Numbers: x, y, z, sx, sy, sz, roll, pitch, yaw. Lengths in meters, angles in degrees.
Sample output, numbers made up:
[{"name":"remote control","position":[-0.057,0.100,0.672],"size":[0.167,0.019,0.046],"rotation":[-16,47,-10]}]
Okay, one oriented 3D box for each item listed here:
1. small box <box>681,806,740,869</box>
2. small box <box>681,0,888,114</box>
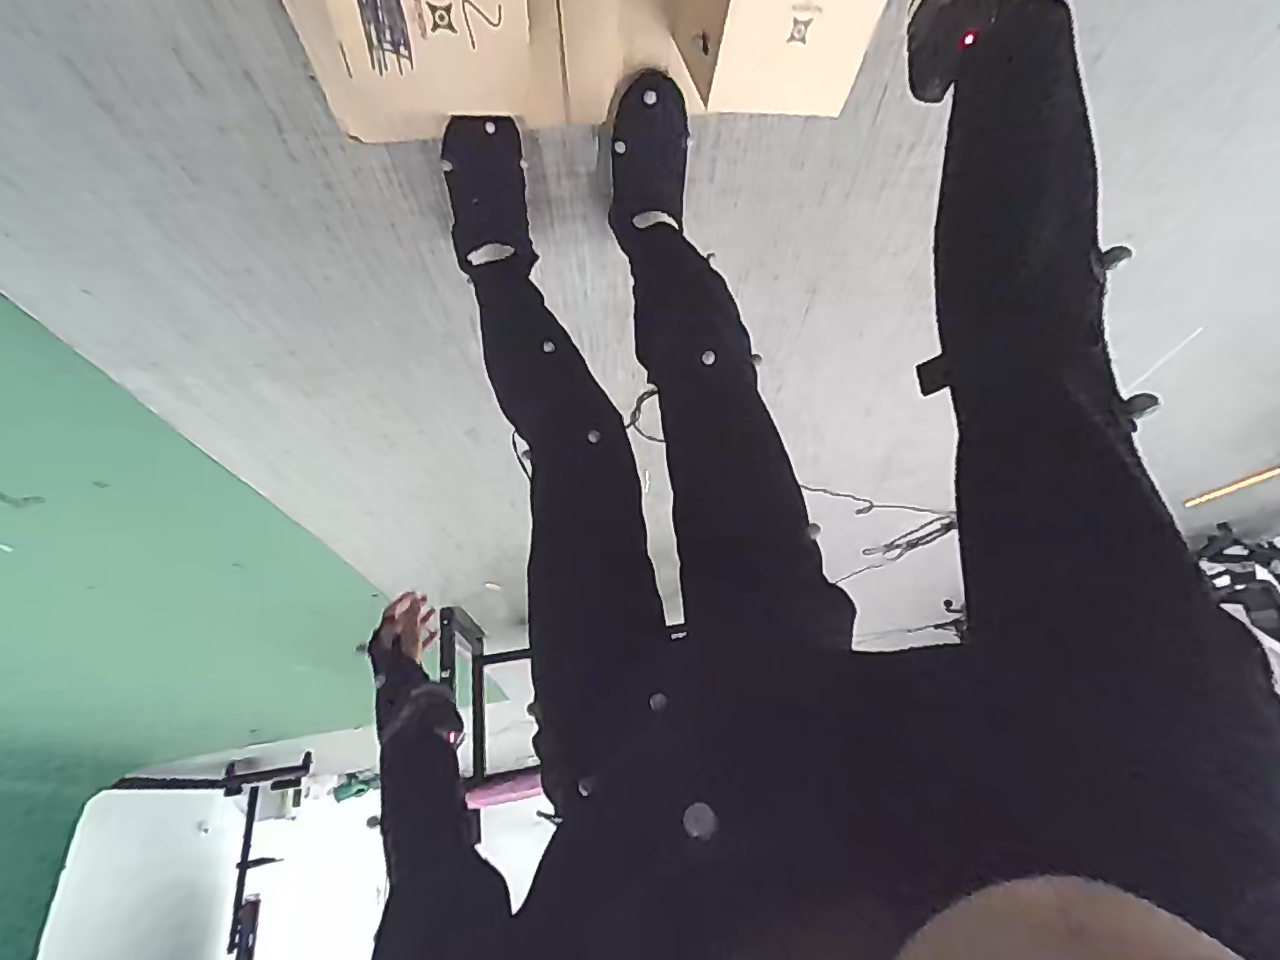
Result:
[{"name":"small box","position":[0.252,1.296,1.975],"size":[0.168,0.176,0.179],"rotation":[-8,149,-6]},{"name":"small box","position":[0.149,-0.530,0.574],"size":[0.168,0.176,0.179],"rotation":[-5,150,-12]}]
